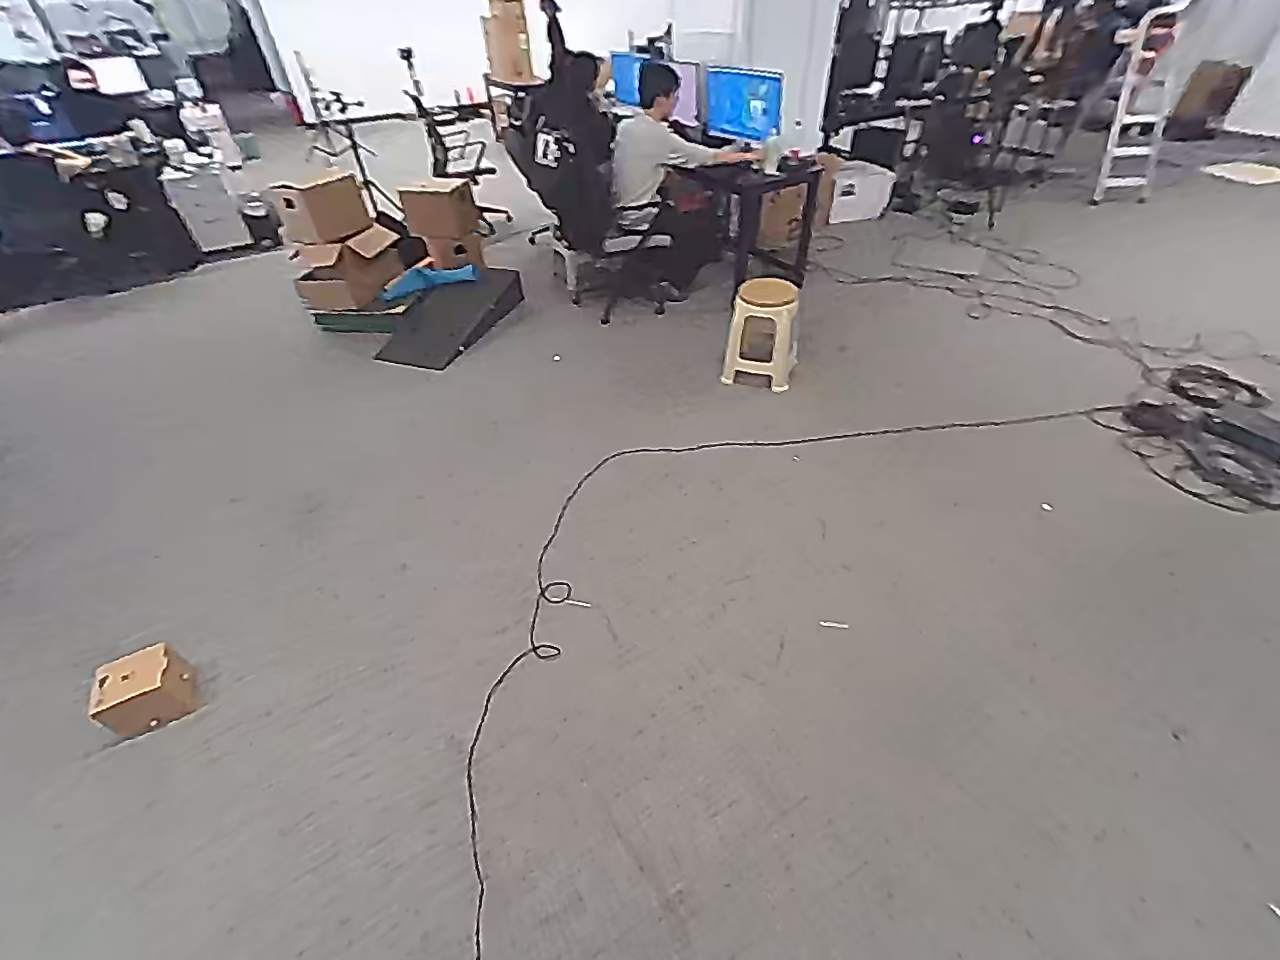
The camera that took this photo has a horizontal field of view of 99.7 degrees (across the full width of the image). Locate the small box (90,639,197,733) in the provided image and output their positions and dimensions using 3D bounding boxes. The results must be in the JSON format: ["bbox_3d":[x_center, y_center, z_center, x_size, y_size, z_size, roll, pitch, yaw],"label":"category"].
[{"bbox_3d":[-1.471,0.617,1.618,0.179,0.176,0.168,-21,45,-20],"label":"small box"}]
